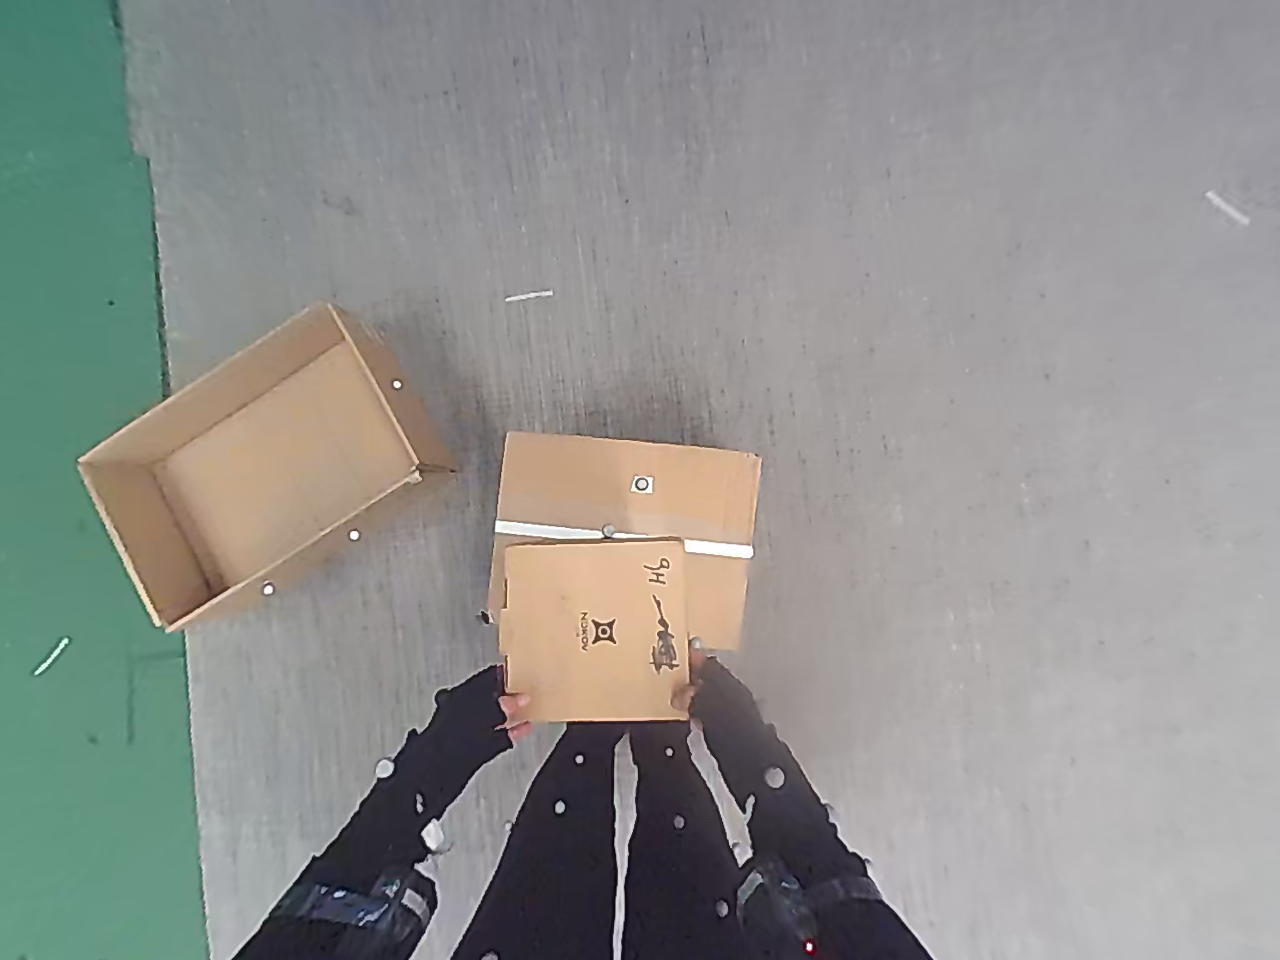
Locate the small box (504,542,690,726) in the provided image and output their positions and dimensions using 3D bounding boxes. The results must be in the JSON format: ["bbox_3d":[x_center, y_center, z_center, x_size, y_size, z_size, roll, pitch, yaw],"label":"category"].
[{"bbox_3d":[-0.036,0.154,0.590,0.179,0.176,0.168,-2,85,4],"label":"small box"}]
